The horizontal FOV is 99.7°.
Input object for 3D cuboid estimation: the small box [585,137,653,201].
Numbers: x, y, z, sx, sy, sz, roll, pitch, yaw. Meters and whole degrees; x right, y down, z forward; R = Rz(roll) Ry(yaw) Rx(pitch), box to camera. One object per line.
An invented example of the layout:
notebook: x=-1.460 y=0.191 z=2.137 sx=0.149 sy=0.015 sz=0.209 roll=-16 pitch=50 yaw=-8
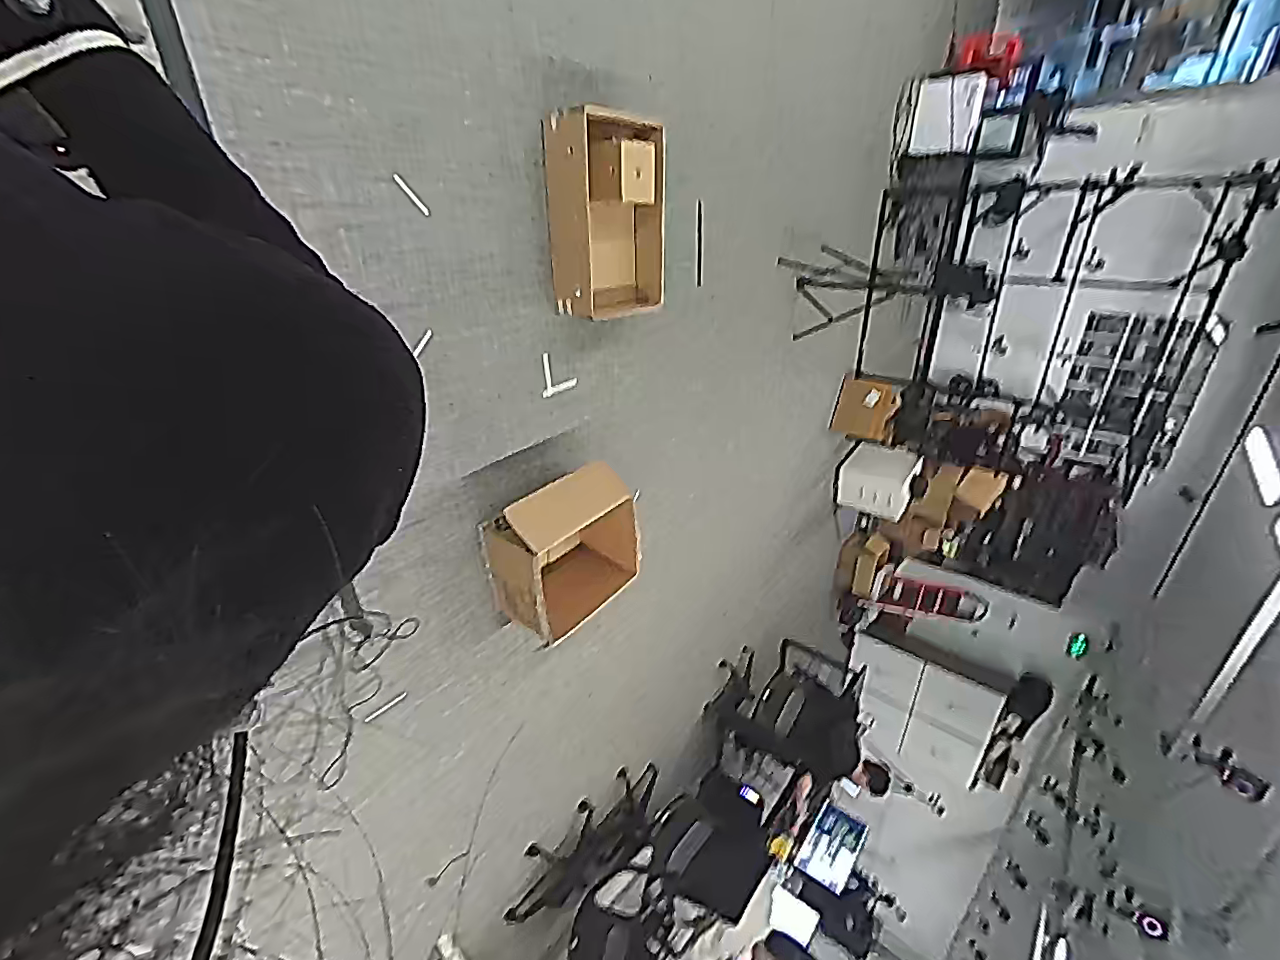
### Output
small box: x=-0.073 y=-1.045 z=1.828 sx=0.168 sy=0.176 sz=0.179 roll=-27 pitch=128 yaw=-41
